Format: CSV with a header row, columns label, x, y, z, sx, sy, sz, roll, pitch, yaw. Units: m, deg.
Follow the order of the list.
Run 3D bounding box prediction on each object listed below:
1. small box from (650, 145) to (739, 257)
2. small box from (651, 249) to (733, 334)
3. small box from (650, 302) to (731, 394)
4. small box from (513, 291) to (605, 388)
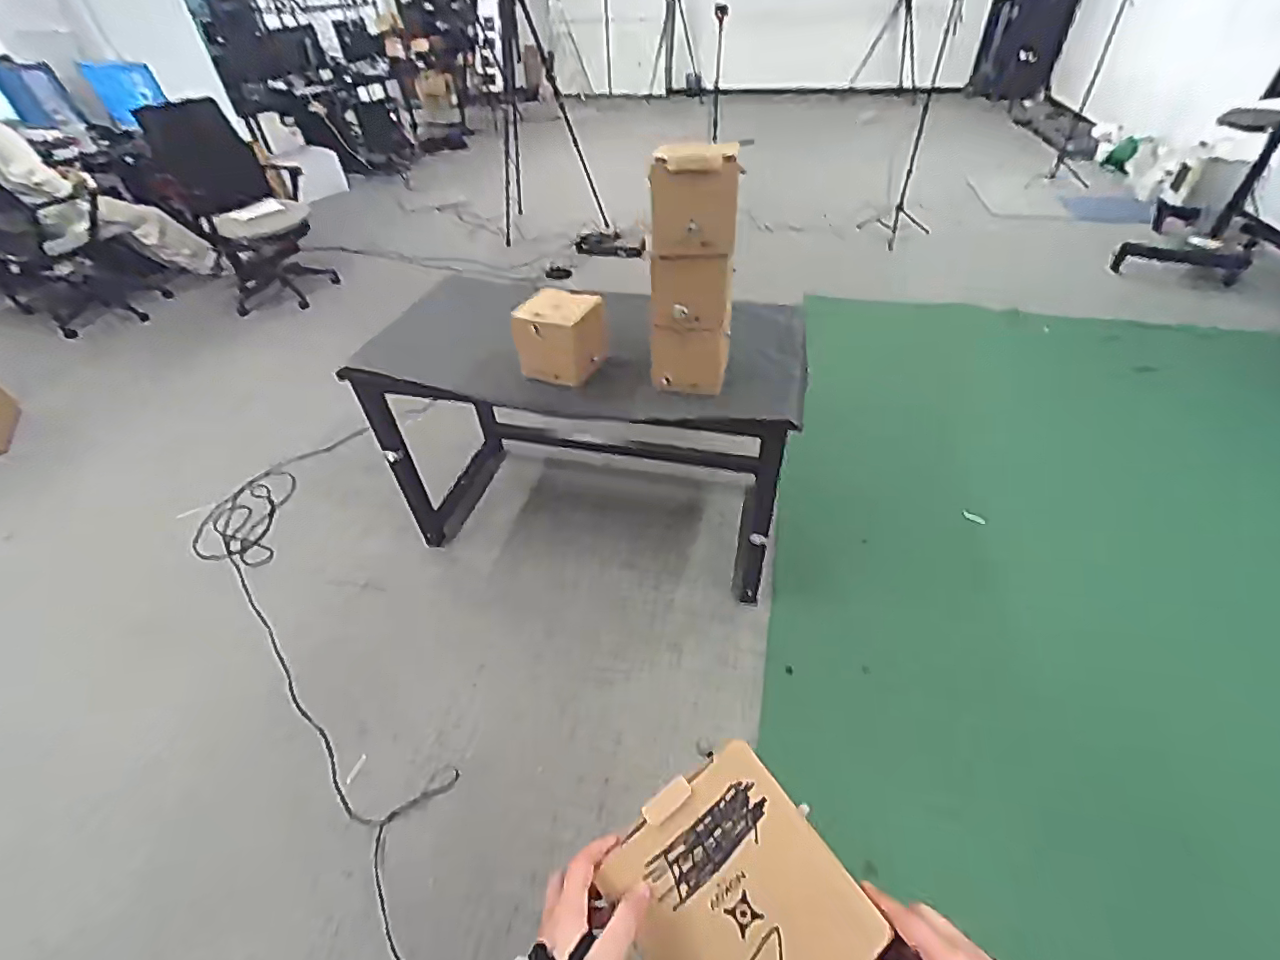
label,x,y,z,sx,sy,sz,roll,pitch,yaw
small box,0.113,-0.564,1.094,0.168,0.176,0.179,2,41,8
small box,0.119,-0.445,1.209,0.168,0.176,0.179,4,42,10
small box,0.127,-0.325,1.318,0.168,0.176,0.179,8,41,12
small box,-0.197,-0.357,1.372,0.168,0.176,0.179,14,43,18
